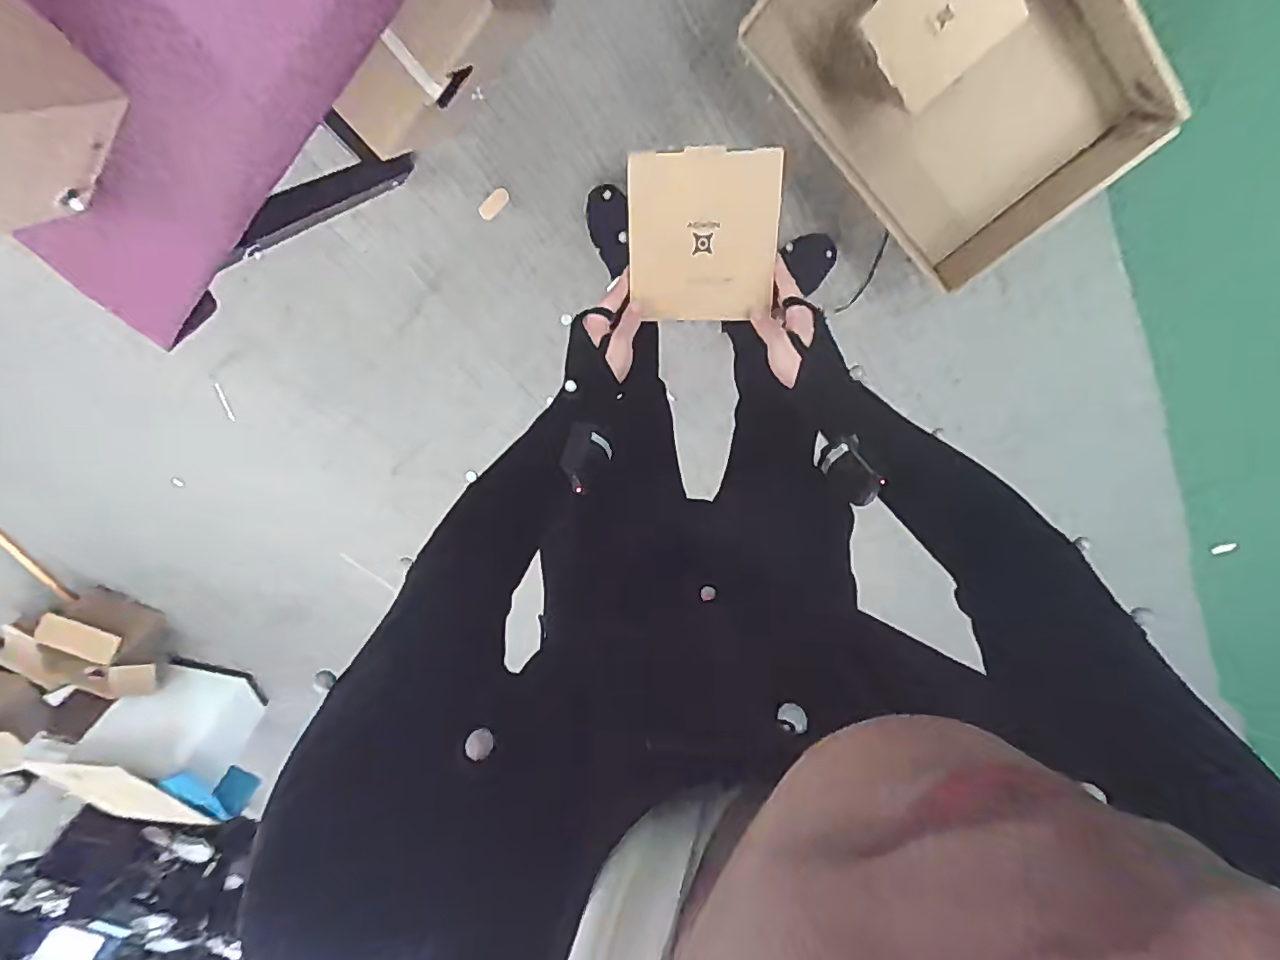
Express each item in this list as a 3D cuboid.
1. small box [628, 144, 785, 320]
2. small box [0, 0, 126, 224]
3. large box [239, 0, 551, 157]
[{"bbox_3d":[0.072,-0.295,0.663,0.168,0.176,0.179,0,113,3],"label":"small box"},{"bbox_3d":[-0.609,-0.341,0.459,0.168,0.176,0.179,-29,117,28],"label":"small box"},{"bbox_3d":[-0.420,-0.833,0.886,0.320,0.320,0.408,-30,117,29],"label":"large box"}]
